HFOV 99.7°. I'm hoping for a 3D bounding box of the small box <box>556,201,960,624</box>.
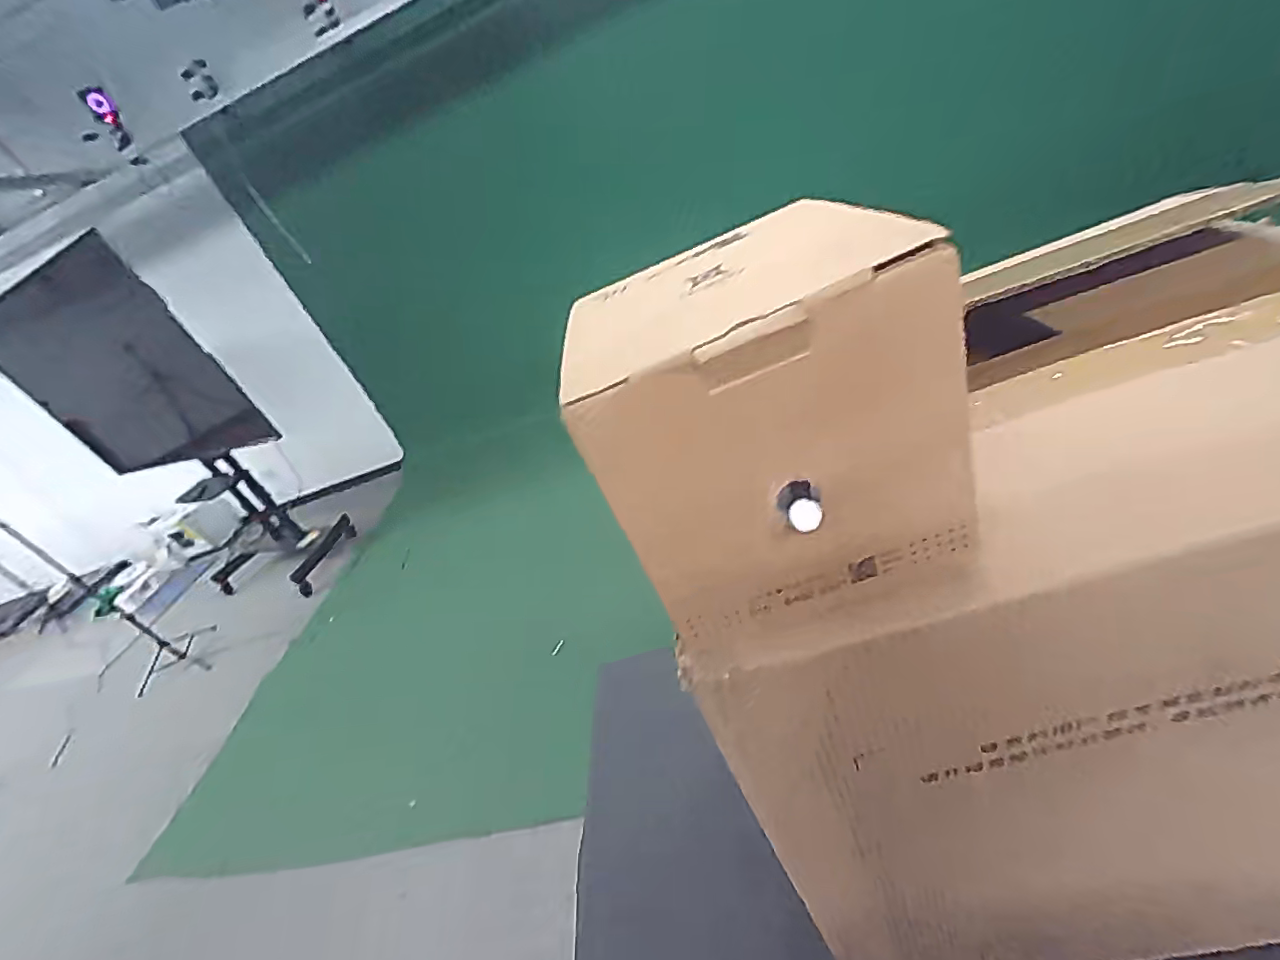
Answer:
[{"bbox_3d":[0.064,-0.037,0.325,0.168,0.176,0.179,-21,32,9],"label":"small box"}]
